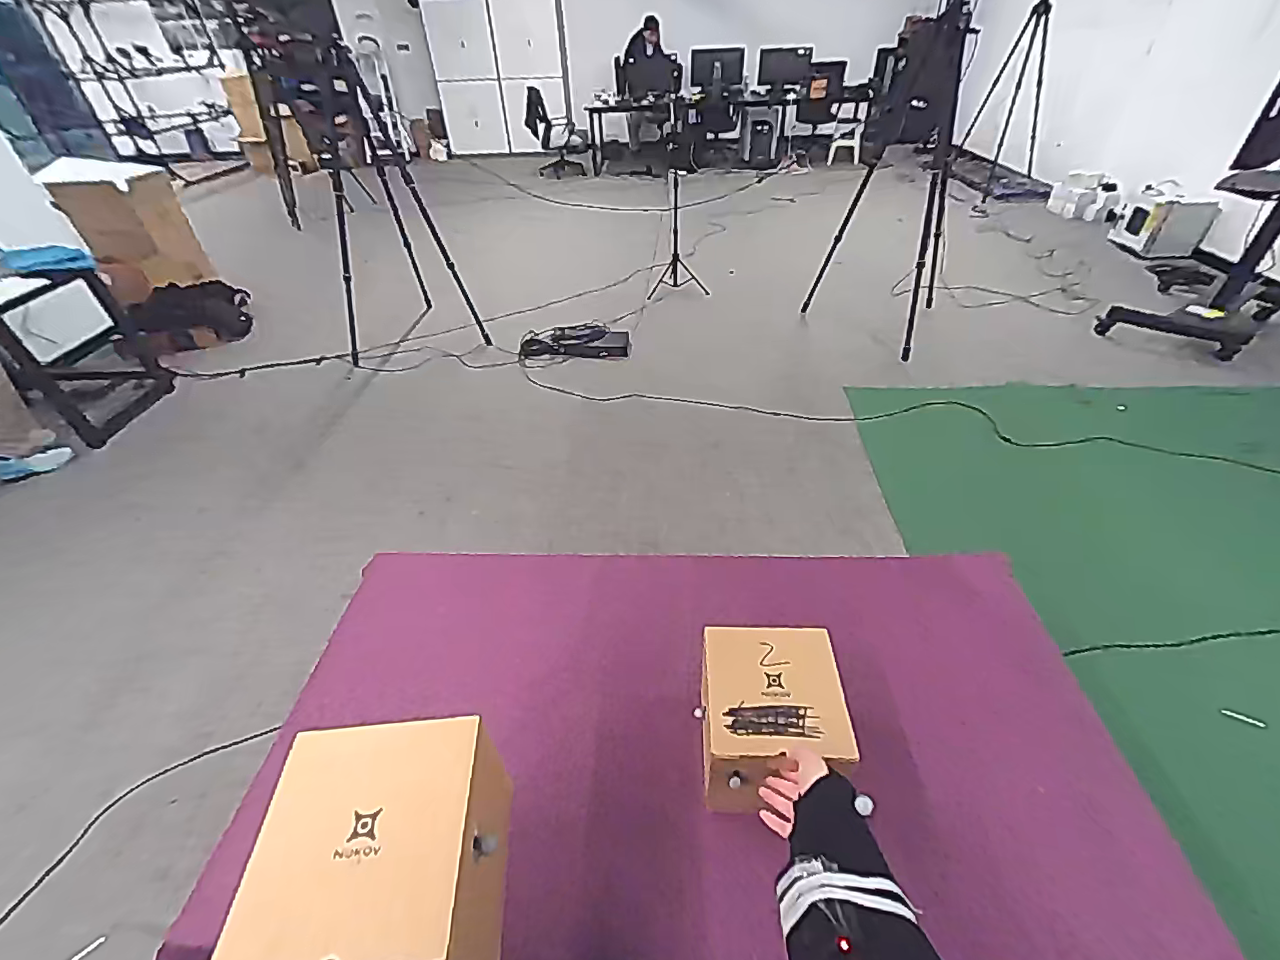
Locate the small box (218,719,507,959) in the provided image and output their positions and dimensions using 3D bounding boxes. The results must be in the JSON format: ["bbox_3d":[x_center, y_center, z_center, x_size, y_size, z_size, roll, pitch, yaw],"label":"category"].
[{"bbox_3d":[-0.223,0.347,0.498,0.168,0.176,0.179,-4,43,-3],"label":"small box"}]
